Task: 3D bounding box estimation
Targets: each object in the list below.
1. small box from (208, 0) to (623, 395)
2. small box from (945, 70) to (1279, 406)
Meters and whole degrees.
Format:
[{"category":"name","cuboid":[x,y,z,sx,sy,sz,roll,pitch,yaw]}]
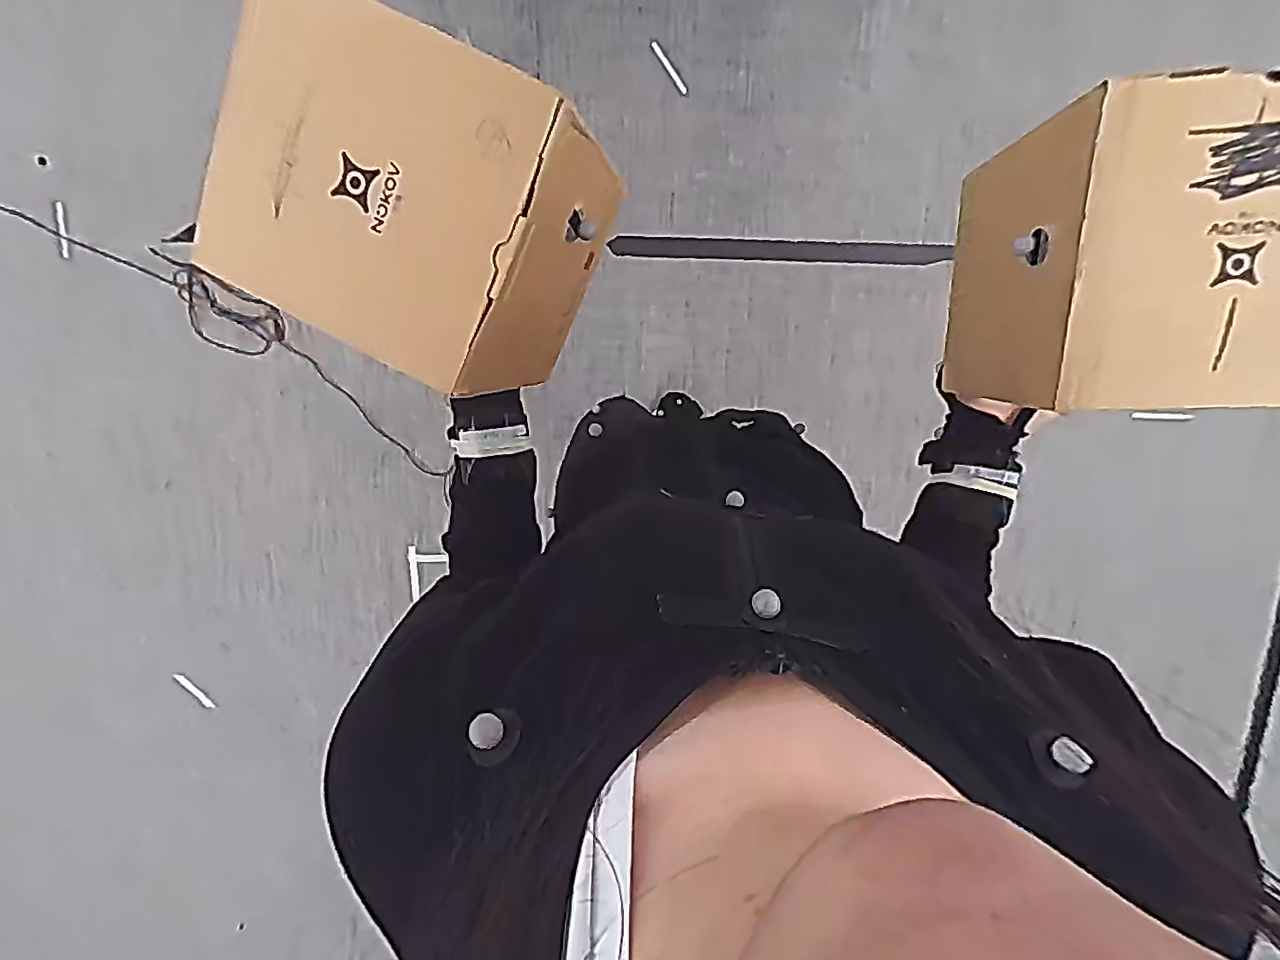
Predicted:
[{"category":"small box","cuboid":[-0.129,-0.175,0.367,0.179,0.176,0.168,27,105,3]},{"category":"small box","cuboid":[0.337,-0.146,0.376,0.168,0.176,0.179,1,104,7]}]
